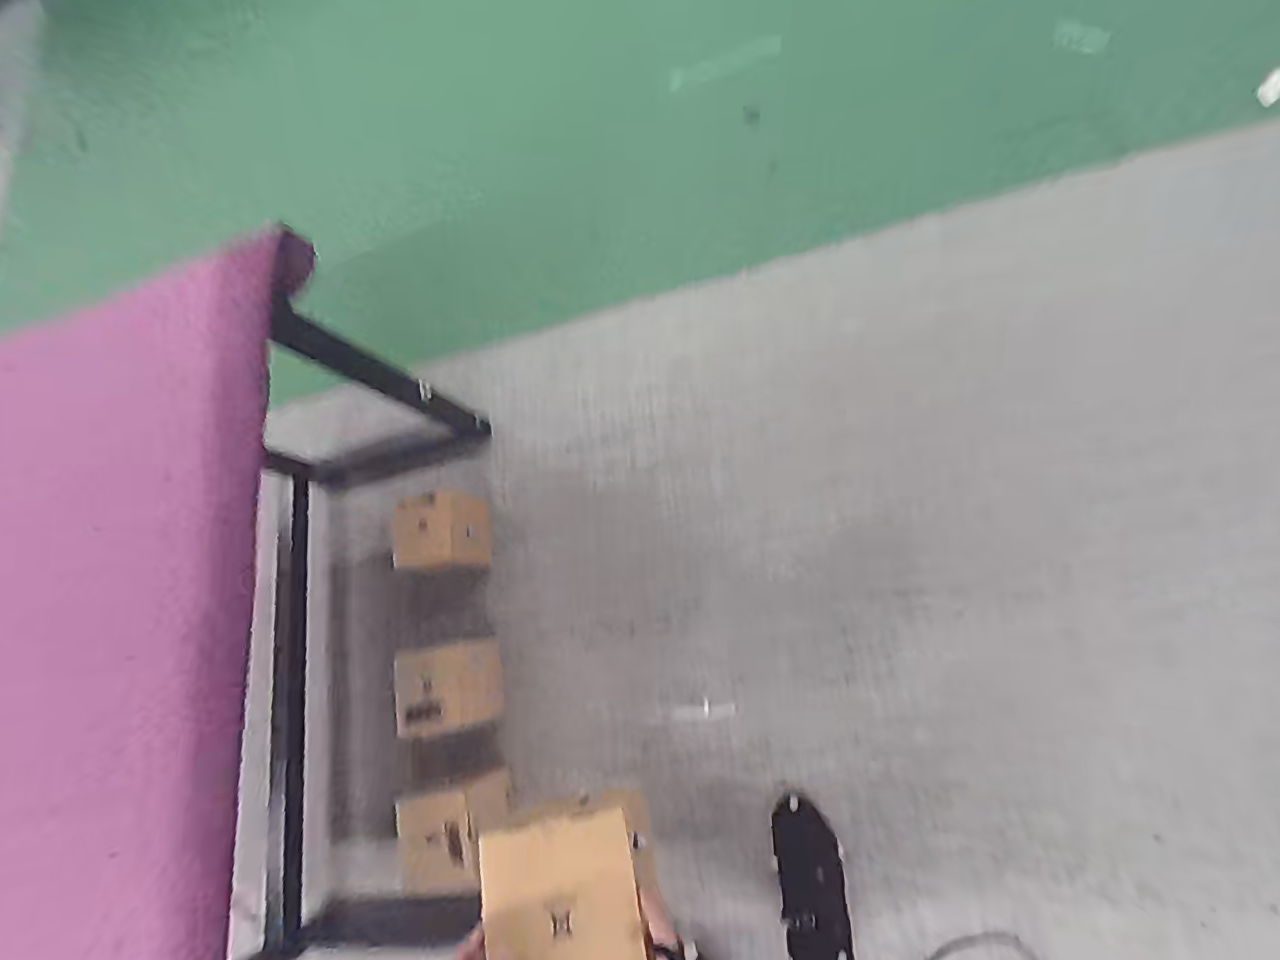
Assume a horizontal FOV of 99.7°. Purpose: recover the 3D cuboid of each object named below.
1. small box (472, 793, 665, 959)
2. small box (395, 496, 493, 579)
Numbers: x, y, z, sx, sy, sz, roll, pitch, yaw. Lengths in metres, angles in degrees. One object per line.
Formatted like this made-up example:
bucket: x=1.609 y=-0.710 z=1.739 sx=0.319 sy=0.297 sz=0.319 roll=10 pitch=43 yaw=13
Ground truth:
small box: x=-0.072 y=0.475 z=0.606 sx=0.168 sy=0.176 sz=0.179 roll=-13 pitch=66 yaw=2
small box: x=-0.477 y=0.150 z=1.333 sx=0.168 sy=0.176 sz=0.179 roll=-10 pitch=74 yaw=16
